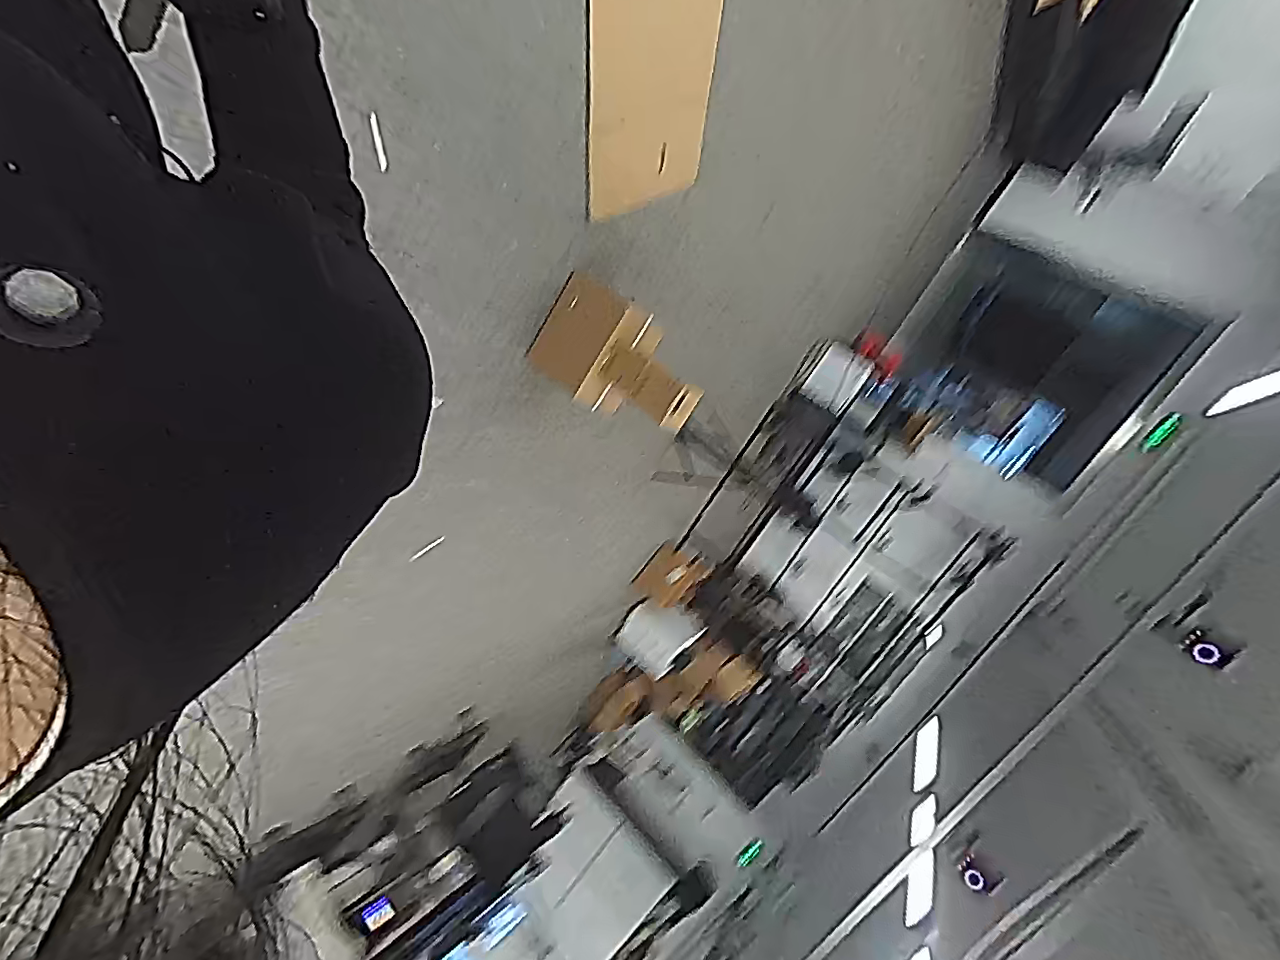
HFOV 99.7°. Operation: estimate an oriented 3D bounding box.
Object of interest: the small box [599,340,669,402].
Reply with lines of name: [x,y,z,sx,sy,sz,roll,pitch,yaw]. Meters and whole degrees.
small box: [-0.026,-0.417,2.065,0.168,0.176,0.179,-59,156,17]
